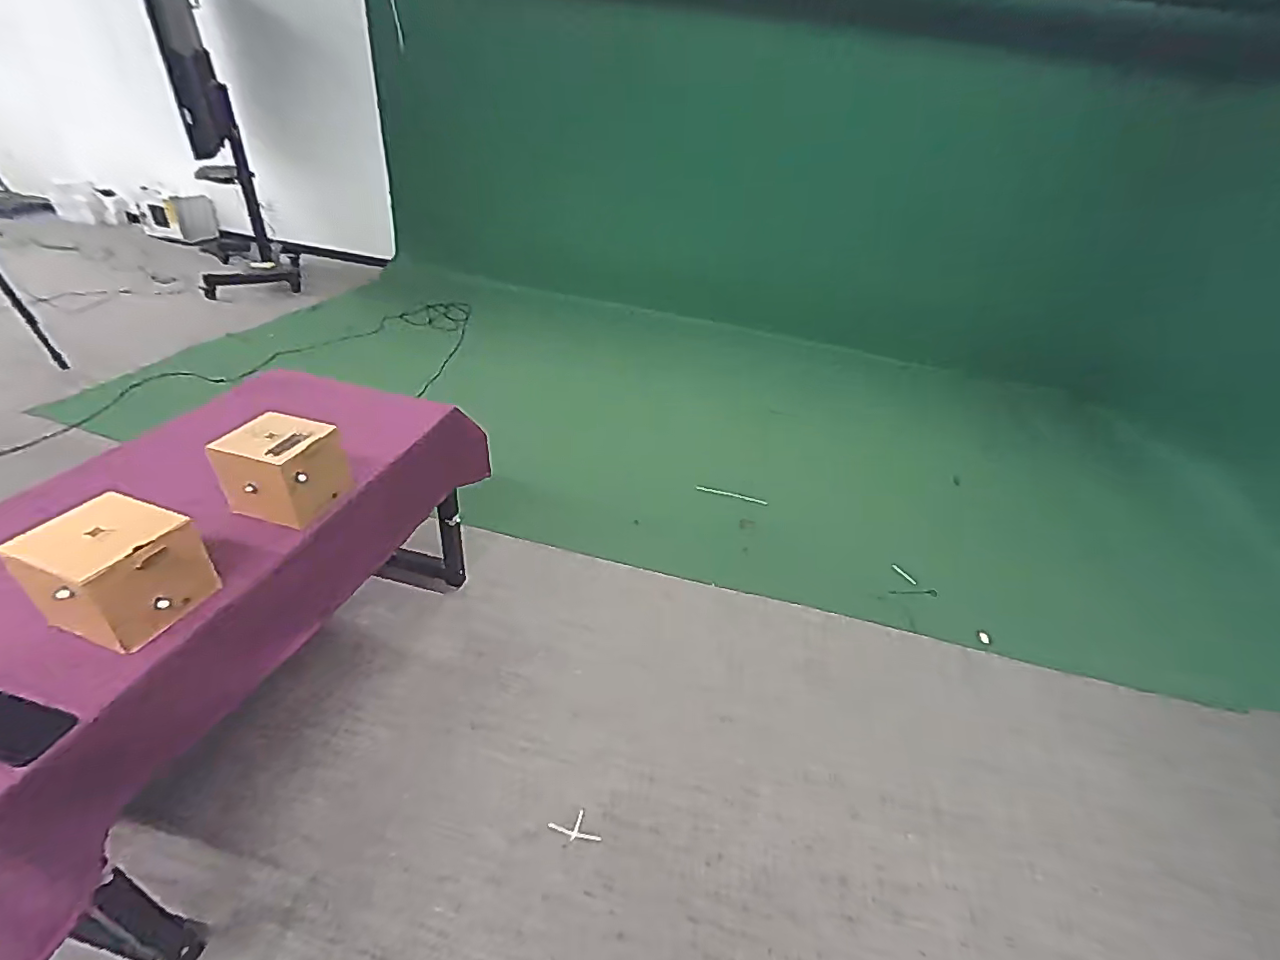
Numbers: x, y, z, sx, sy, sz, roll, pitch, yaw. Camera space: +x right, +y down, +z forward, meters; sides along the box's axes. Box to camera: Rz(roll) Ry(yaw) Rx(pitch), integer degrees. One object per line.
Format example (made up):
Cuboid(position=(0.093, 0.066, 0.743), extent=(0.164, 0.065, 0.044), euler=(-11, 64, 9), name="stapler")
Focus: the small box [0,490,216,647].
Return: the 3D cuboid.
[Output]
Cuboid(position=(-0.863, 0.146, 0.895), extent=(0.179, 0.176, 0.168), euler=(16, 35, 10), name="small box")
